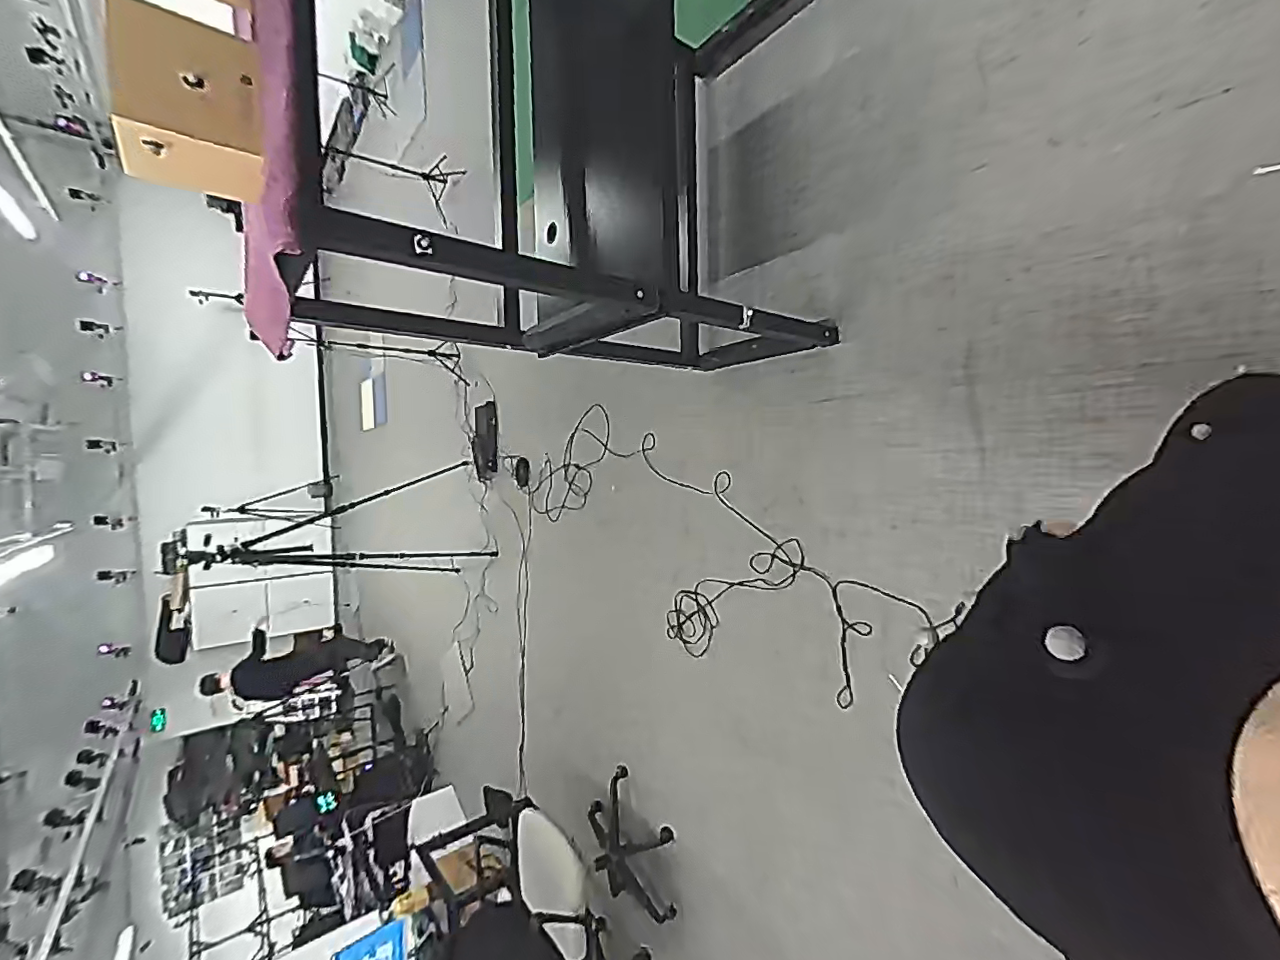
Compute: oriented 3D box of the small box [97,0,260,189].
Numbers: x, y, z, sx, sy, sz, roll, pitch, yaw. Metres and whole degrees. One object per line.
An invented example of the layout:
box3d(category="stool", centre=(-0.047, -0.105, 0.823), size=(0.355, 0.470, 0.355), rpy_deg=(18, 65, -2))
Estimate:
box3d(category="small box", centre=(-0.660, -0.560, 0.786), size=(0.179, 0.176, 0.168), rpy_deg=(0, 91, 51))
